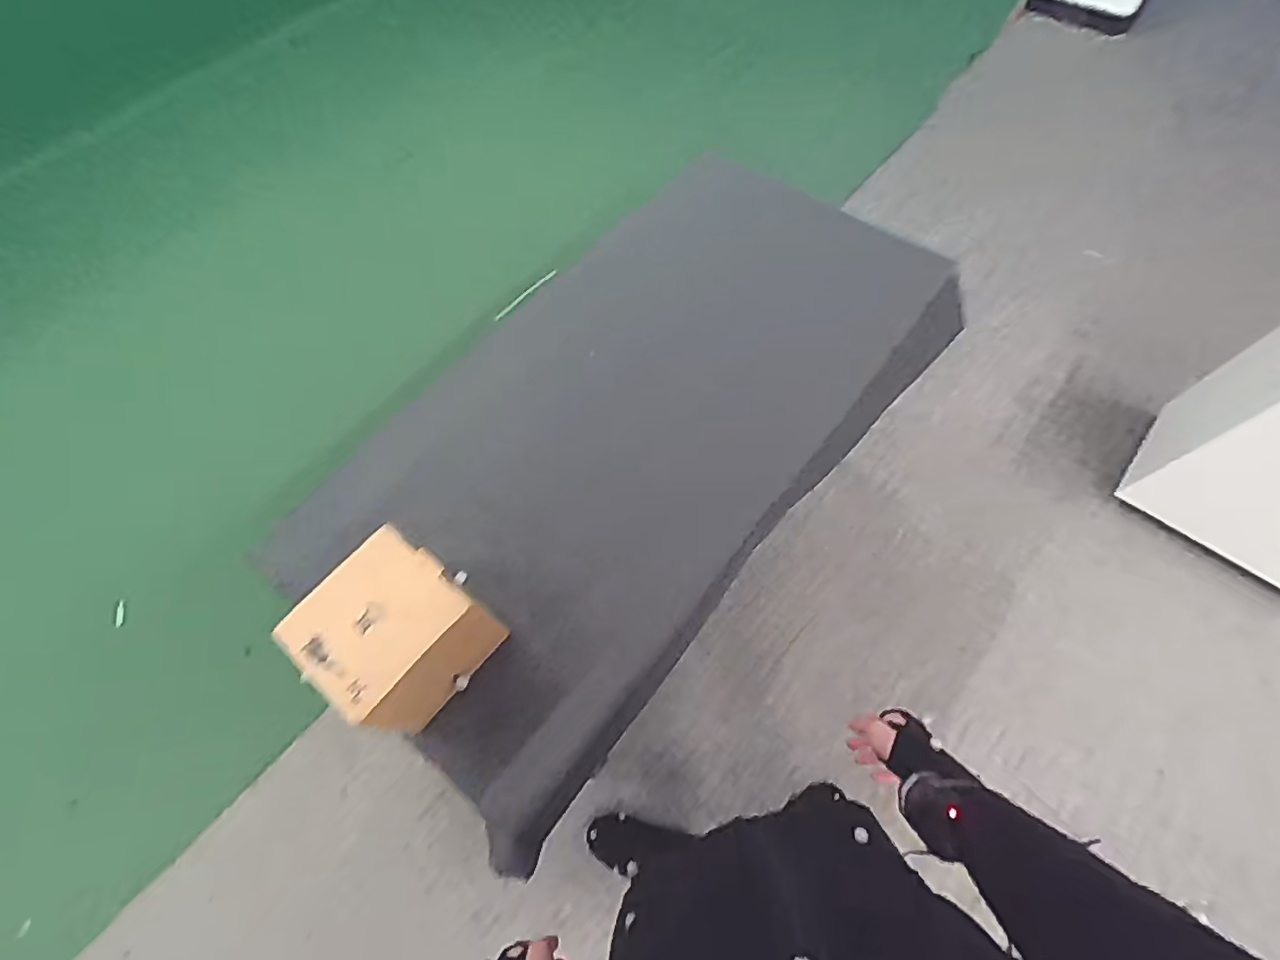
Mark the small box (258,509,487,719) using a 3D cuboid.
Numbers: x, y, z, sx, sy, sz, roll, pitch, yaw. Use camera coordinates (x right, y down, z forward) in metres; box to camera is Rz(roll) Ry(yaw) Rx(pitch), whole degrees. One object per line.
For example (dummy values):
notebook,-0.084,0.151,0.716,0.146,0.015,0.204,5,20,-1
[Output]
small box,-0.316,0.174,0.686,0.168,0.176,0.179,37,69,18
